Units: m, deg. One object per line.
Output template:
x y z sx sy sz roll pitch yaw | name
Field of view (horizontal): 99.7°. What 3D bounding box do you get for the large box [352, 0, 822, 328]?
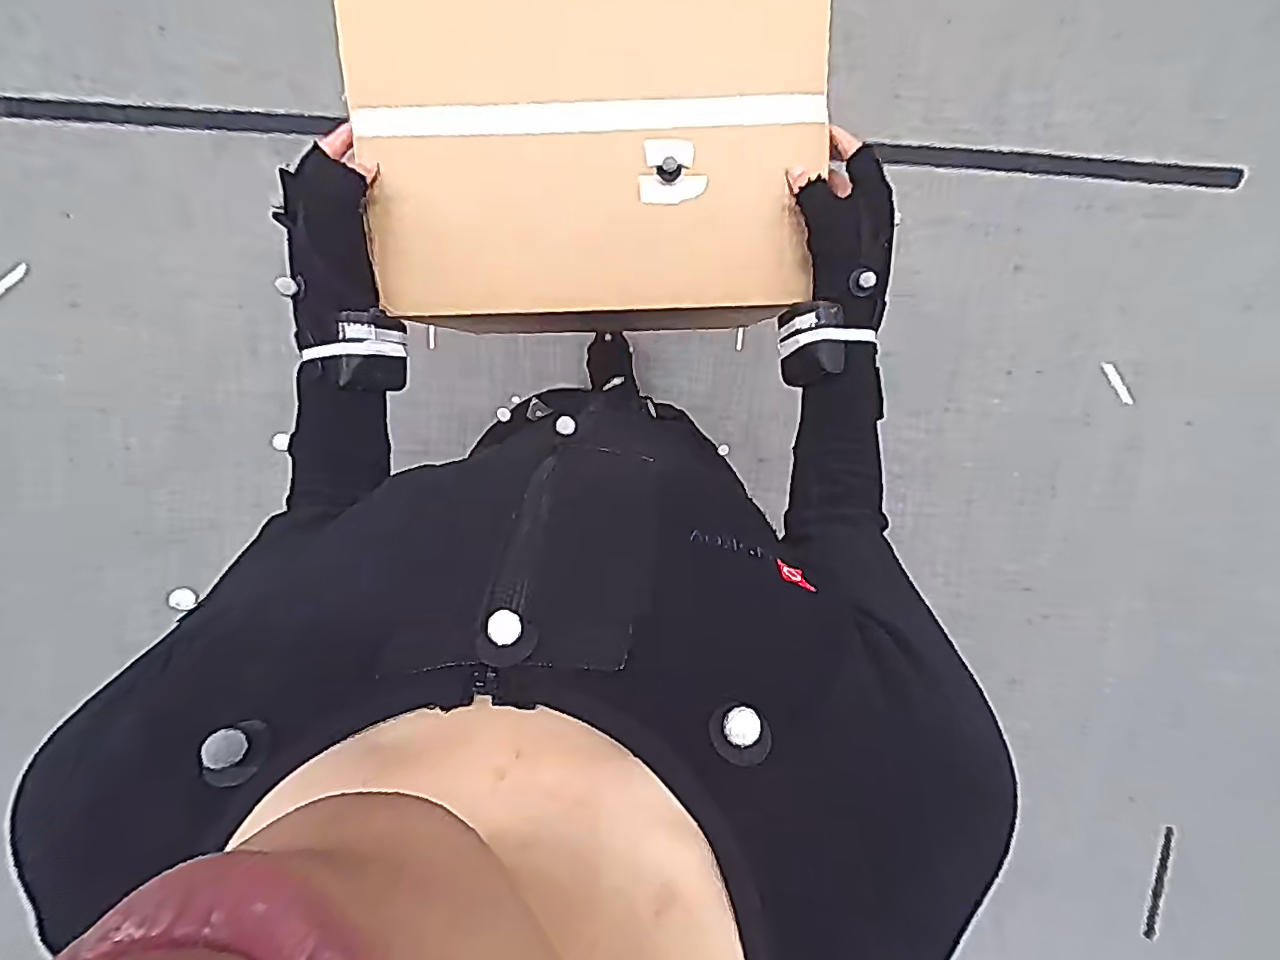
-0.045 -0.352 0.617 0.408 0.320 0.320 -2 102 -1 | large box
